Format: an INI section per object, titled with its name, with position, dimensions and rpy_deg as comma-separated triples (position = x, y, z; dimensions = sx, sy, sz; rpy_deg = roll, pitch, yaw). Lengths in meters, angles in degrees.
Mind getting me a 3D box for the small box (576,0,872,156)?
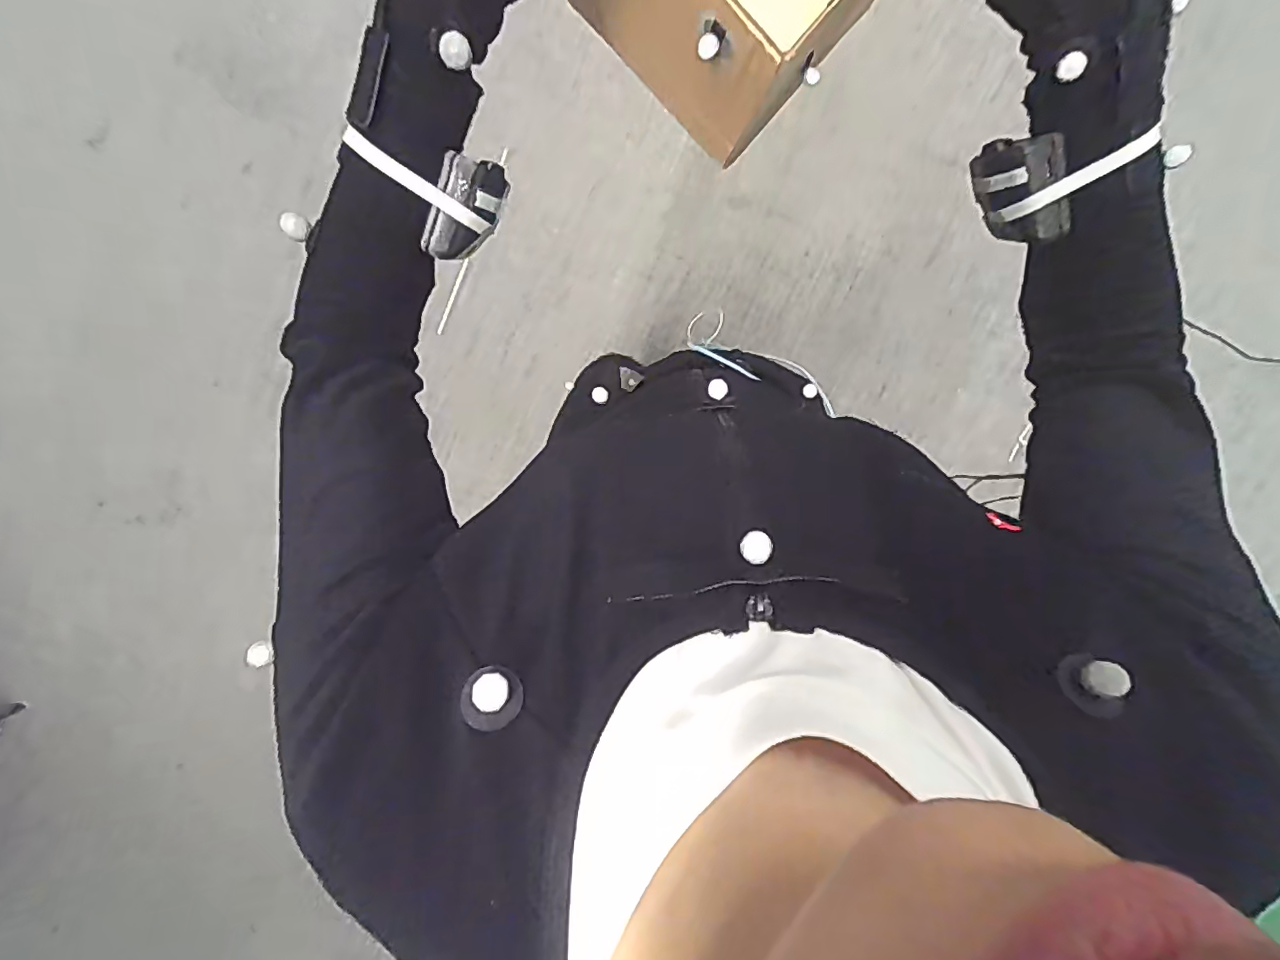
[small box]
position = 0.064, -0.356, 0.346
dimensions = 0.179, 0.176, 0.168
rpy_deg = 42, 97, -11
